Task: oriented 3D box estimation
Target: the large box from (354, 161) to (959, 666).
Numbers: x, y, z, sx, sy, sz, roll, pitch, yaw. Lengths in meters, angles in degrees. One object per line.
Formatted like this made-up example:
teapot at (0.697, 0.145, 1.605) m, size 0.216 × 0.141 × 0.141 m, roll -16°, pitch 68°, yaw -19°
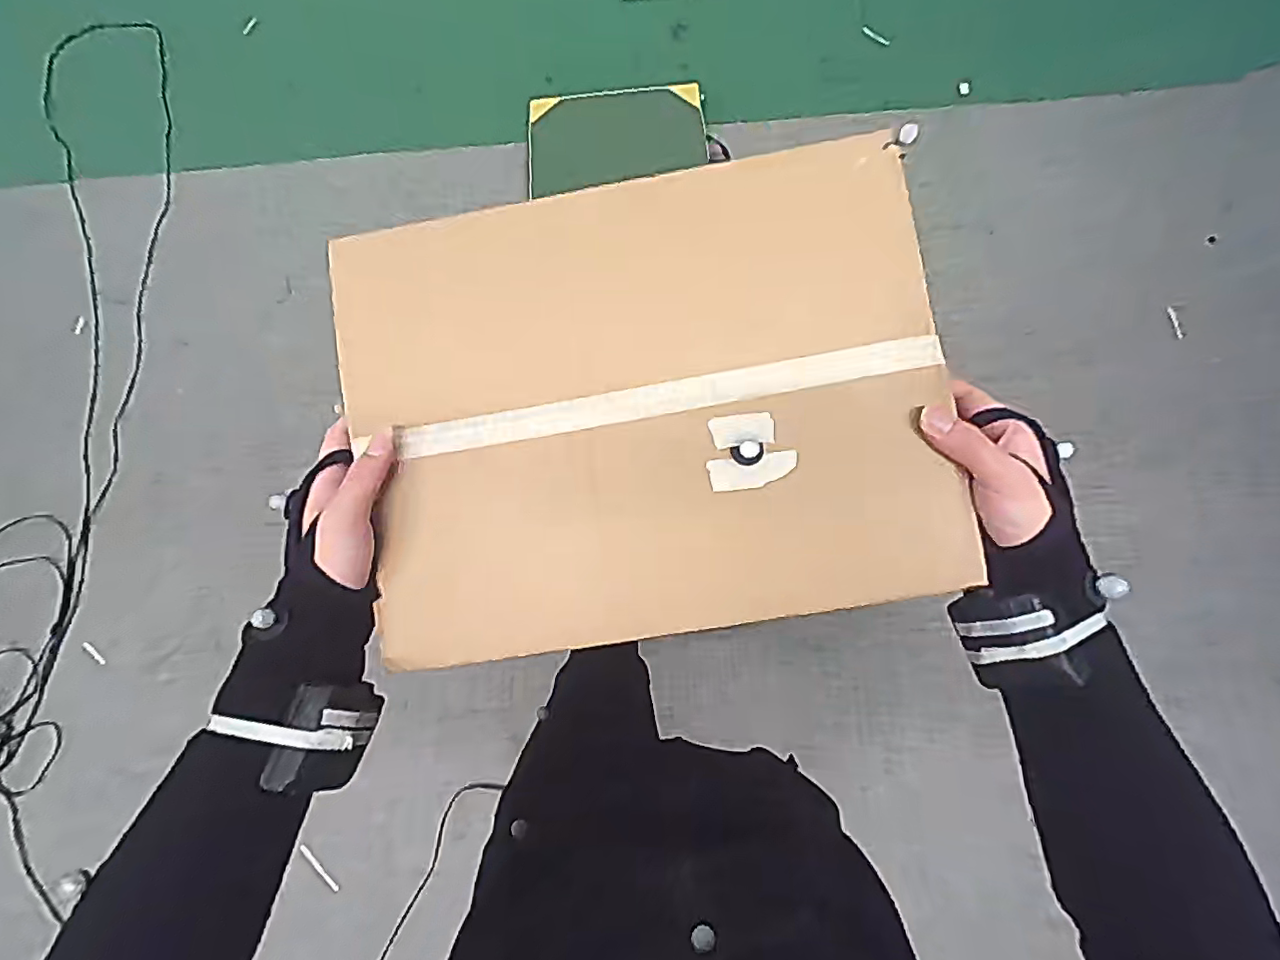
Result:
large box at (0.007, -0.038, 0.539) m, size 0.408 × 0.320 × 0.320 m, roll -10°, pitch 86°, yaw 2°
